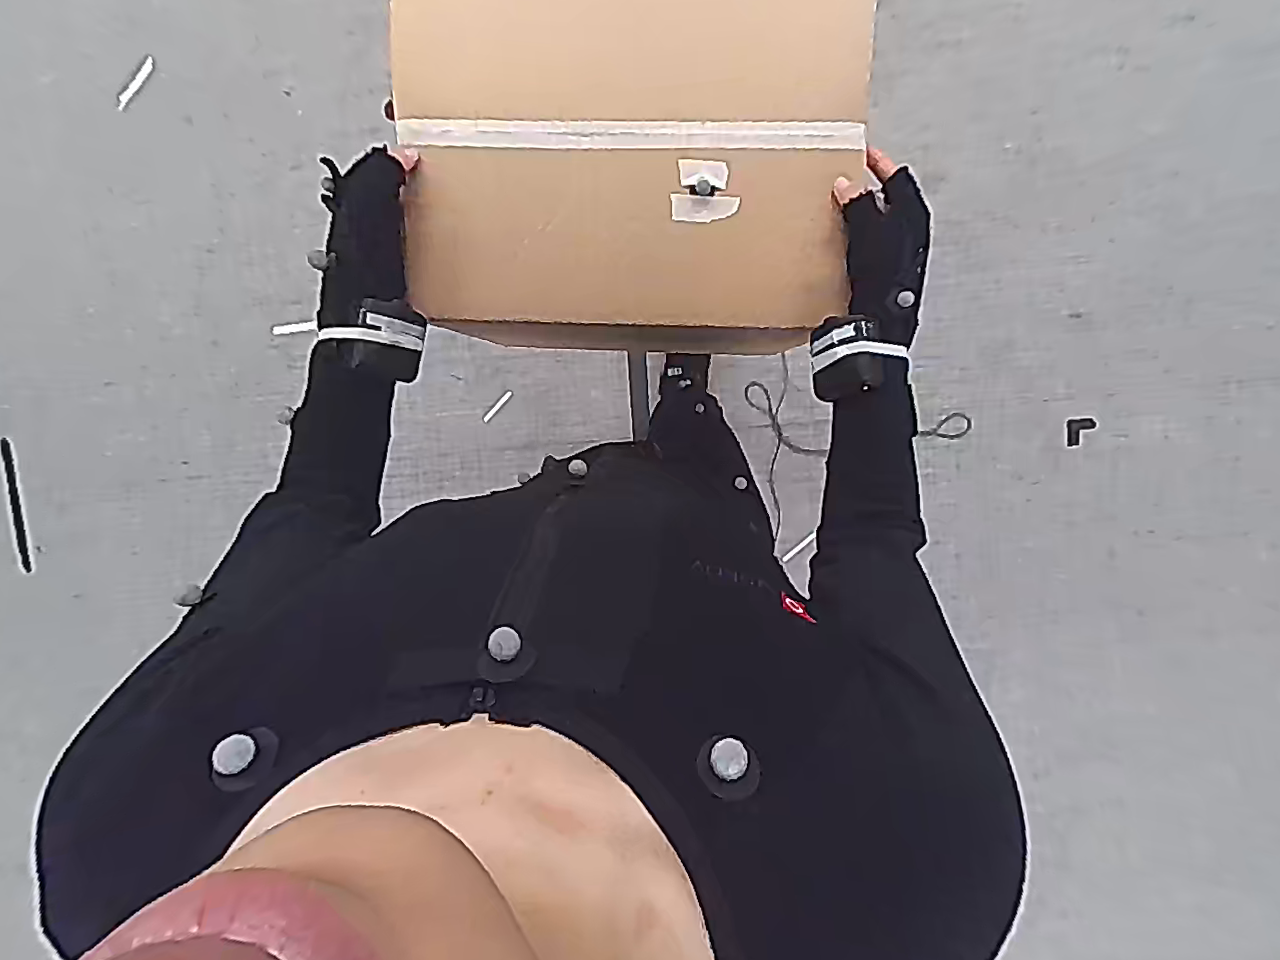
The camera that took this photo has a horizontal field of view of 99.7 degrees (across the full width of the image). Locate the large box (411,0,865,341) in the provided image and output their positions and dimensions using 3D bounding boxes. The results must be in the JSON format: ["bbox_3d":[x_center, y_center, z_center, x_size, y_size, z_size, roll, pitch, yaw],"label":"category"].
[{"bbox_3d":[-0.003,-0.337,0.634,0.408,0.320,0.320,2,100,1],"label":"large box"}]
